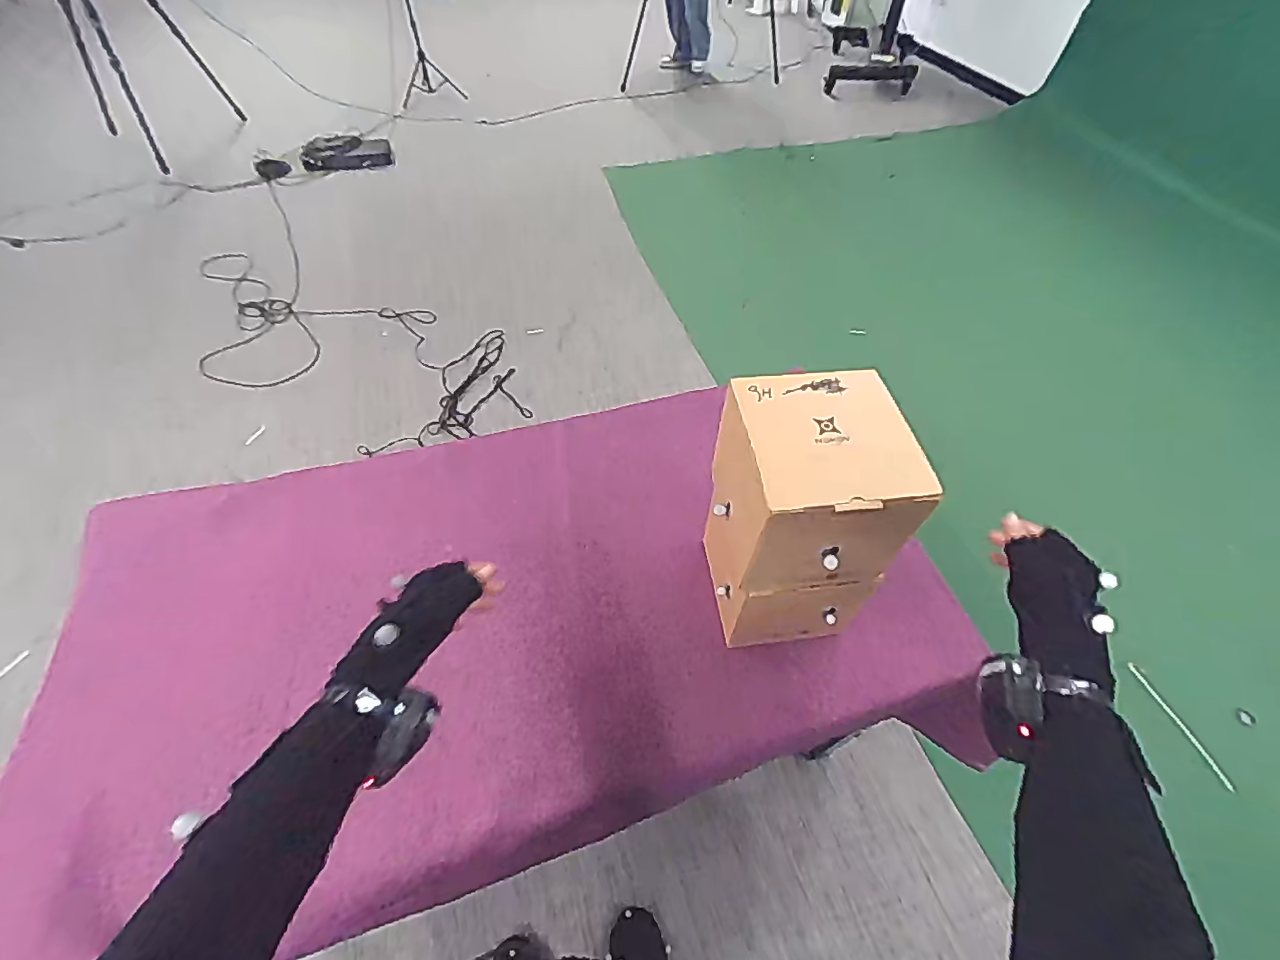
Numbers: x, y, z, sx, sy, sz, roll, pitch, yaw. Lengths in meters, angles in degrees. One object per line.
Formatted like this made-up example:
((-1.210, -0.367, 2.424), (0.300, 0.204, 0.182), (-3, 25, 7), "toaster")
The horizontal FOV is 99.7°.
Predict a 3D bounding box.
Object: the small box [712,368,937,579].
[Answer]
((0.183, 0.000, 0.601), (0.168, 0.176, 0.179), (-4, 54, -5), "small box")

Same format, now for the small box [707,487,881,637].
((0.191, 0.101, 0.730), (0.168, 0.176, 0.179), (-5, 53, -4), "small box")
